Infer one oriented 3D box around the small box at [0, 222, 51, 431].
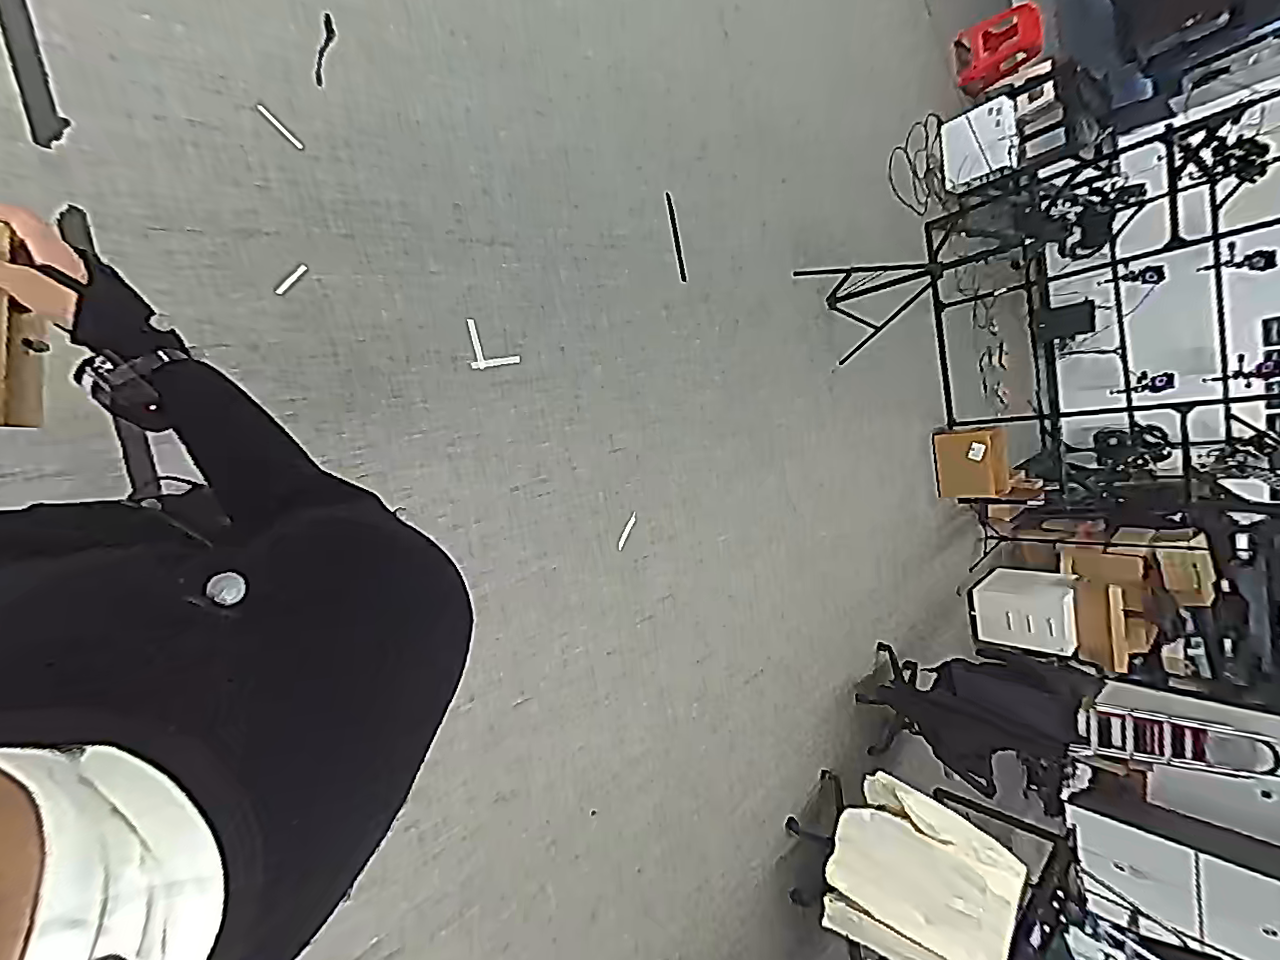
[{"bbox_3d":[-0.649,-0.137,0.470,0.168,0.176,0.179,2,93,-41],"label":"small box"}]
